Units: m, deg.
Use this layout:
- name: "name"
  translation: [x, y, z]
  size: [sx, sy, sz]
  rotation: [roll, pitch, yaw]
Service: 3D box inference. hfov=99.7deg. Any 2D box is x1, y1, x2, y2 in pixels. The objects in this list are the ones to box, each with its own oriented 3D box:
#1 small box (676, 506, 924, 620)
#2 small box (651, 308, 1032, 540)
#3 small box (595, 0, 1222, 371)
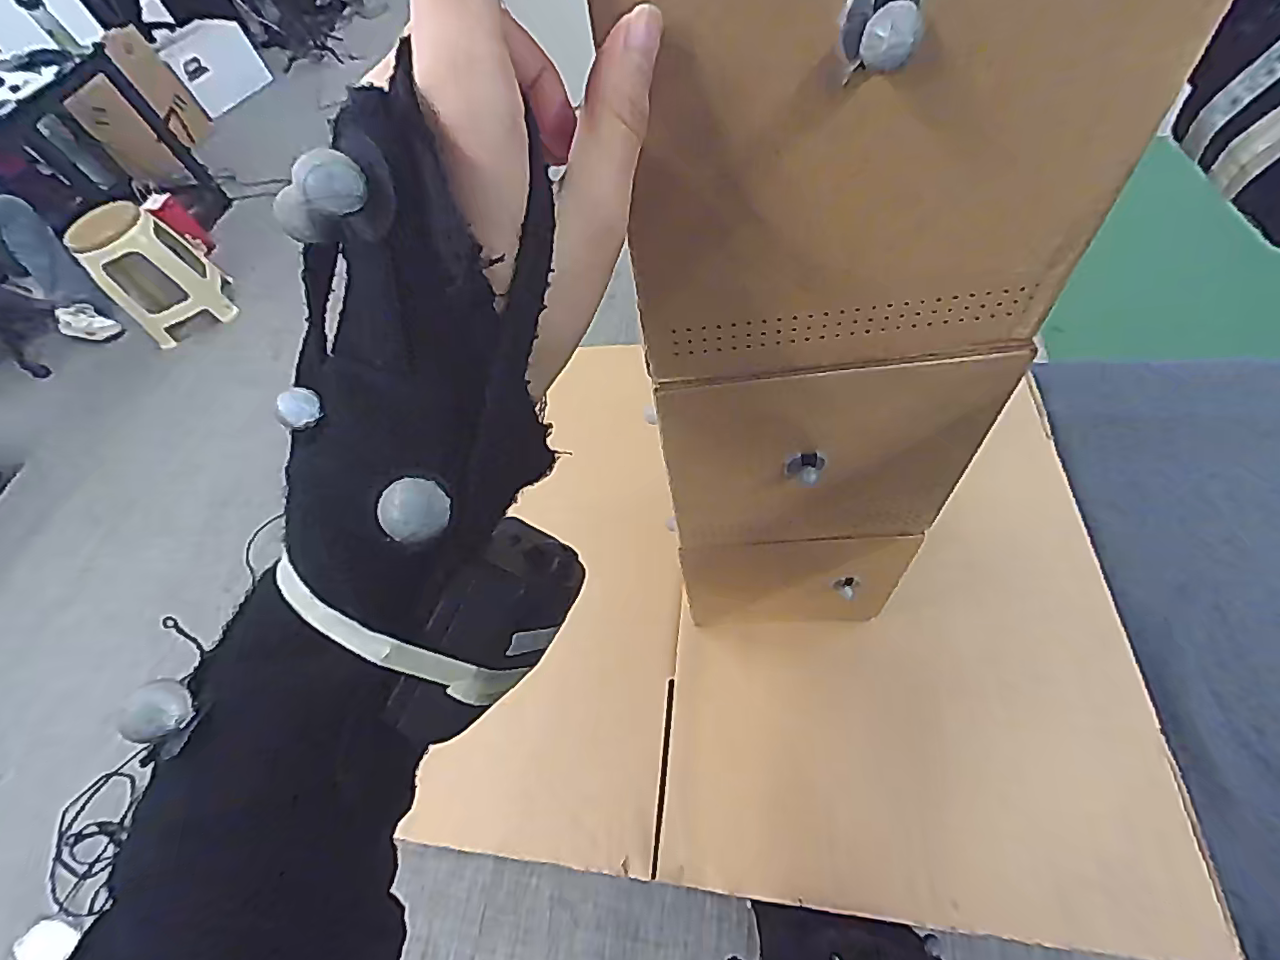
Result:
- name: "small box"
  translation: [0.124, 0.020, 0.493]
  size: [0.179, 0.176, 0.168]
  rotation: [-5, 55, 7]
- name: "small box"
  translation: [0.102, -0.073, 0.359]
  size: [0.179, 0.176, 0.168]
  rotation: [-6, 55, 7]
- name: "small box"
  translation: [0.081, -0.168, 0.229]
  size: [0.179, 0.176, 0.168]
  rotation: [-6, 55, 6]
